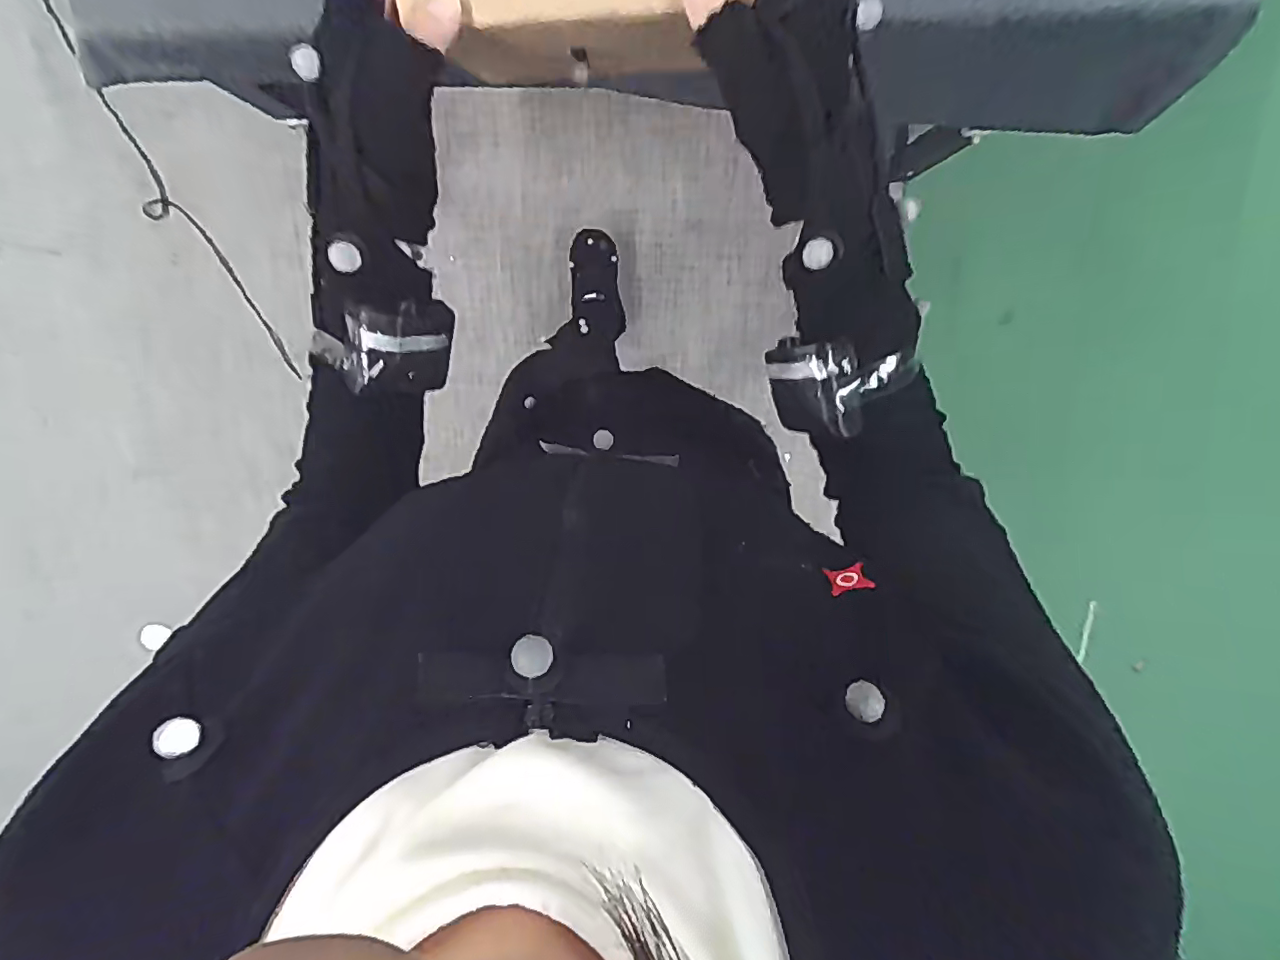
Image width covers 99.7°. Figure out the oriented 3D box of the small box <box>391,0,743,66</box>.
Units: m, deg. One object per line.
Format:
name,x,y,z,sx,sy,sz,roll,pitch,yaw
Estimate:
small box,-0.035,-0.339,0.286,0.179,0.176,0.168,-2,120,5
